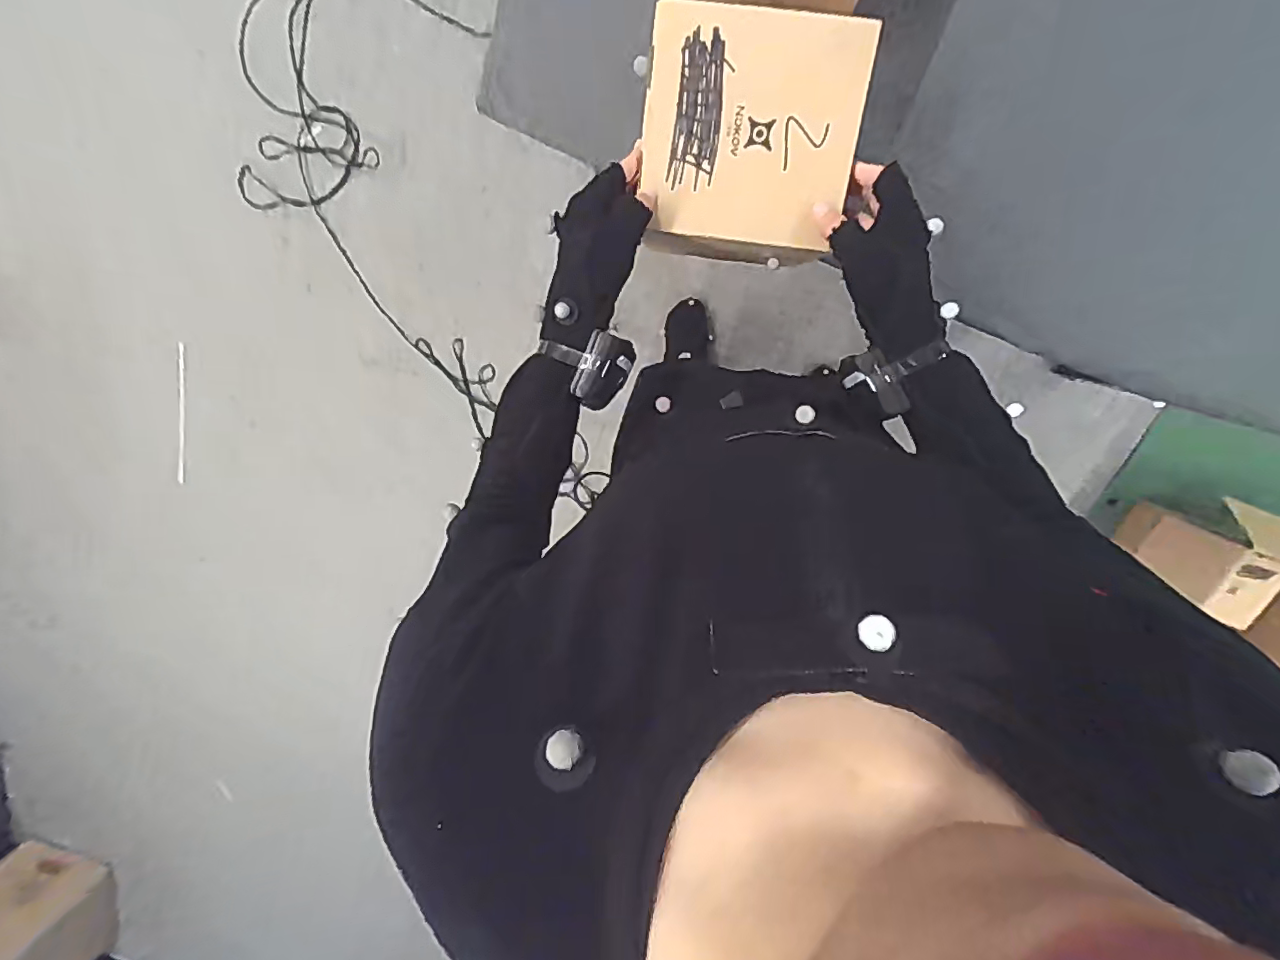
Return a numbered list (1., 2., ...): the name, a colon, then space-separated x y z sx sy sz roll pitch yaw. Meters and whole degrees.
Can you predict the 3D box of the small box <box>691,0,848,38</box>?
1. small box: 0.131 -0.525 0.463 0.179 0.176 0.168 20 110 1
